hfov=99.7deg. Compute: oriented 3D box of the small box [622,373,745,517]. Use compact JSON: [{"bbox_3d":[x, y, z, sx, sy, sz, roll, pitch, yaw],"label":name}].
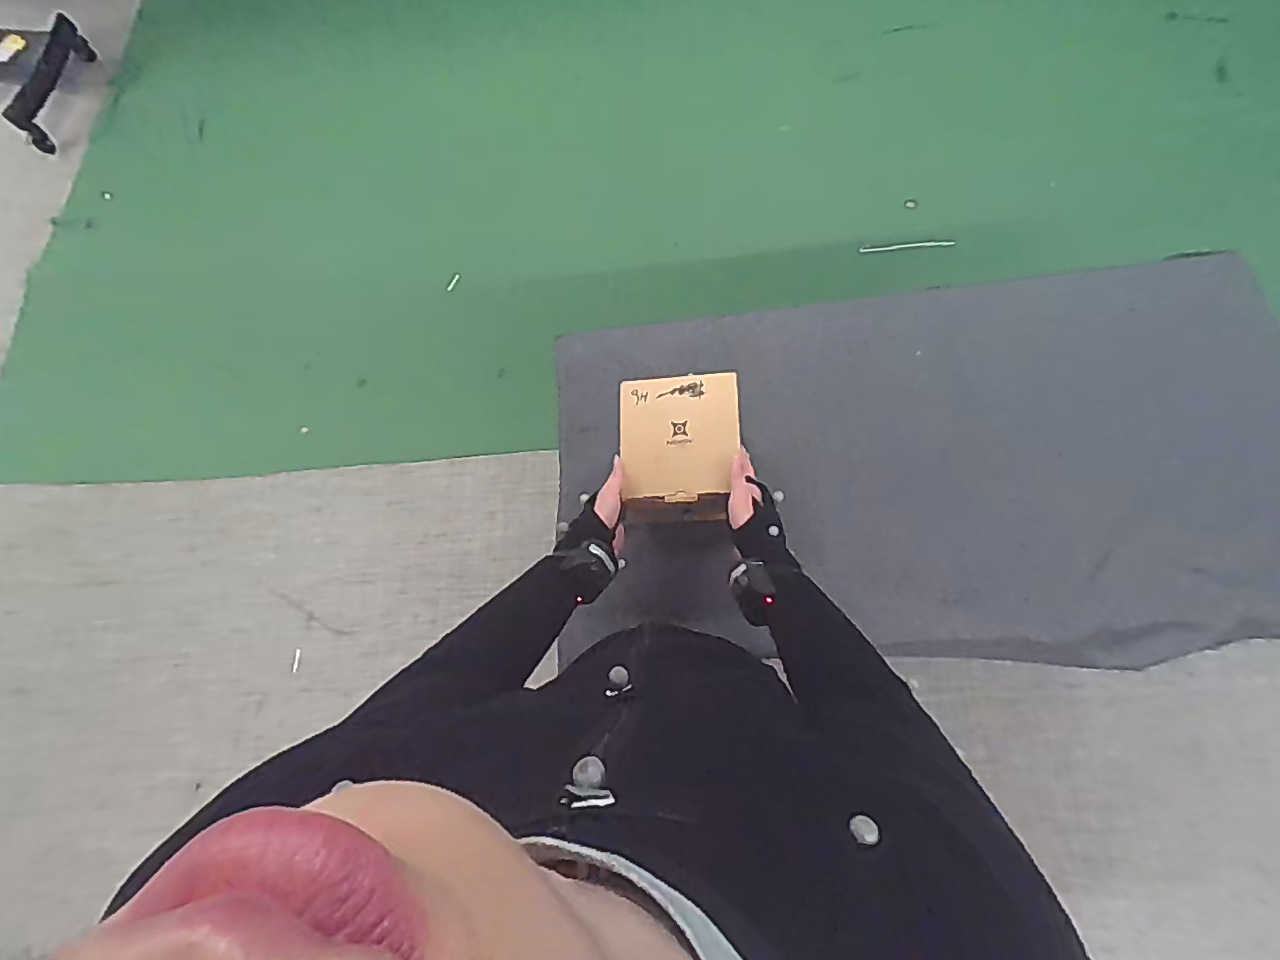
[{"bbox_3d":[0.071,-0.041,0.808,0.168,0.176,0.179,-3,76,10],"label":"small box"}]
